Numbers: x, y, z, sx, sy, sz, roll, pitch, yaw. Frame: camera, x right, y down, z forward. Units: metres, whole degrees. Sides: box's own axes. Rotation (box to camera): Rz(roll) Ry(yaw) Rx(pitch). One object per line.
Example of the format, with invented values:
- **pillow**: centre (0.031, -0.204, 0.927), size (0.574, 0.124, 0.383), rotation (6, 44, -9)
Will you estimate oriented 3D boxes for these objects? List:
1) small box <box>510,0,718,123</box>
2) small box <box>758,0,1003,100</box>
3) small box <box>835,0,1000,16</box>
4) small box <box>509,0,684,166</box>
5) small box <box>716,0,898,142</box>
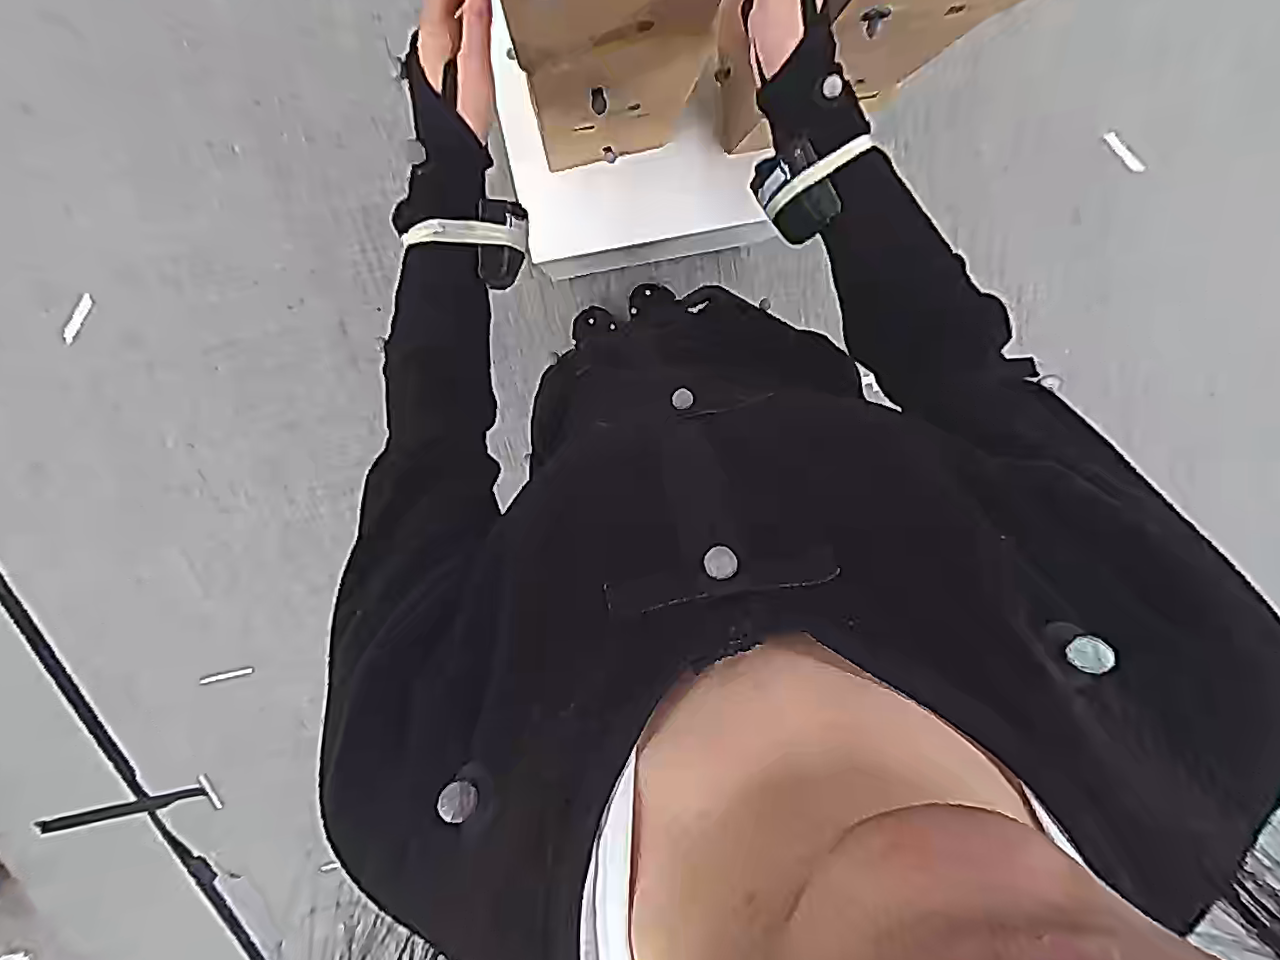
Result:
- **small box**: centre (-0.037, -0.455, 0.494), size (0.168, 0.176, 0.179), rotation (-13, 108, -2)
- **small box**: centre (0.210, -0.496, 0.506), size (0.168, 0.176, 0.179), rotation (-10, 109, -1)
- **small box**: centre (0.225, -0.444, 0.350), size (0.168, 0.176, 0.179), rotation (-9, 107, -1)
- **small box**: centre (-0.056, -0.506, 0.647), size (0.168, 0.176, 0.179), rotation (-14, 109, -1)
- **small box**: centre (0.196, -0.536, 0.663), size (0.168, 0.176, 0.179), rotation (-11, 110, -2)
